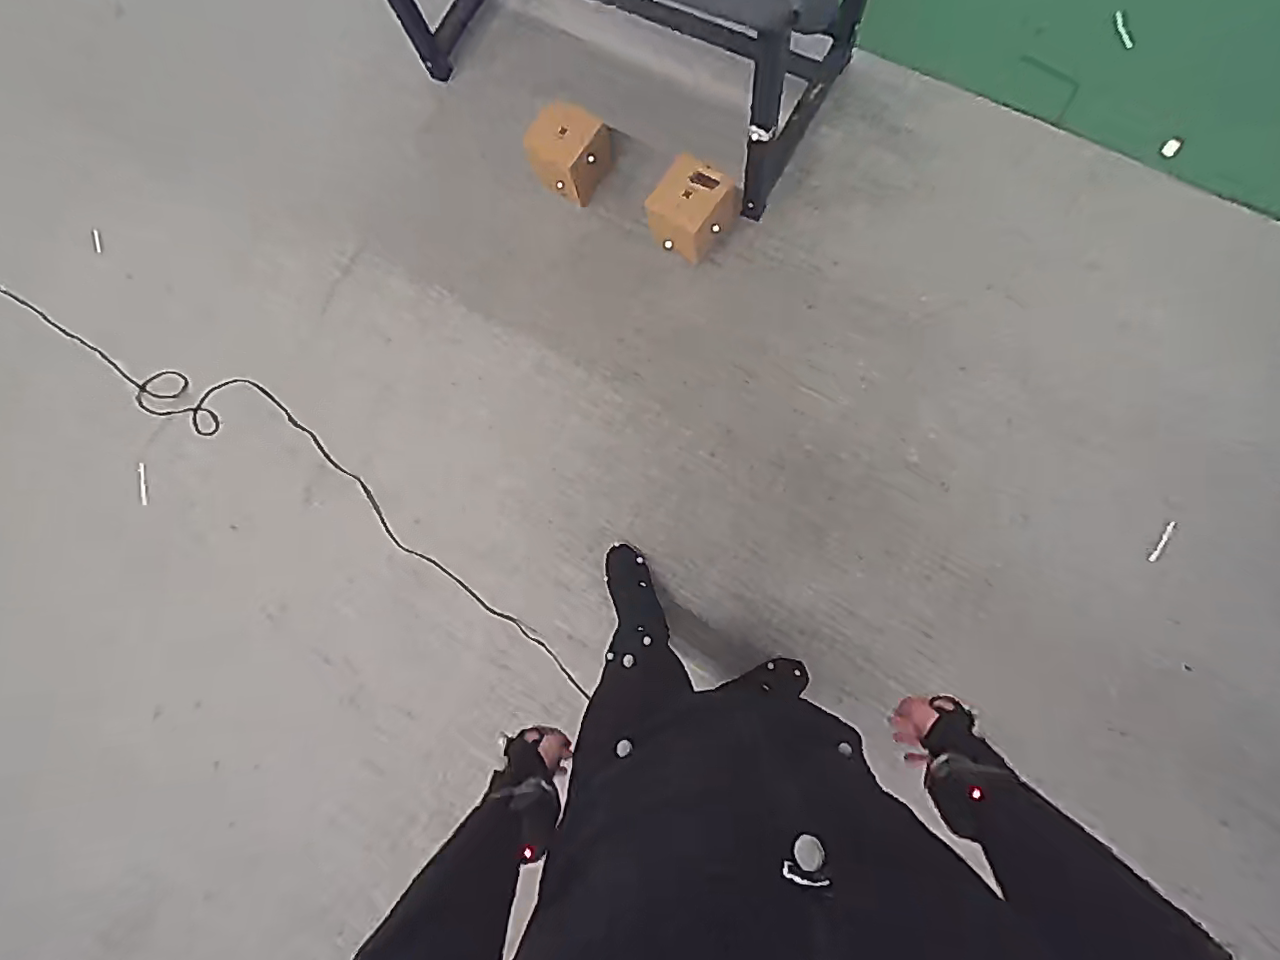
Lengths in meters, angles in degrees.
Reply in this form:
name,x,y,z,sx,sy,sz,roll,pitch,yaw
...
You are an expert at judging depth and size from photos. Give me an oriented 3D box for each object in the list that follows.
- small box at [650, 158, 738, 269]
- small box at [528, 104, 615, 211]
name,x,y,z,sx,sy,sz,roll,pitch,yaw
small box,0.150,-0.724,1.482,0.168,0.176,0.179,37,89,12
small box,-0.188,-0.925,1.568,0.168,0.176,0.179,33,85,10
